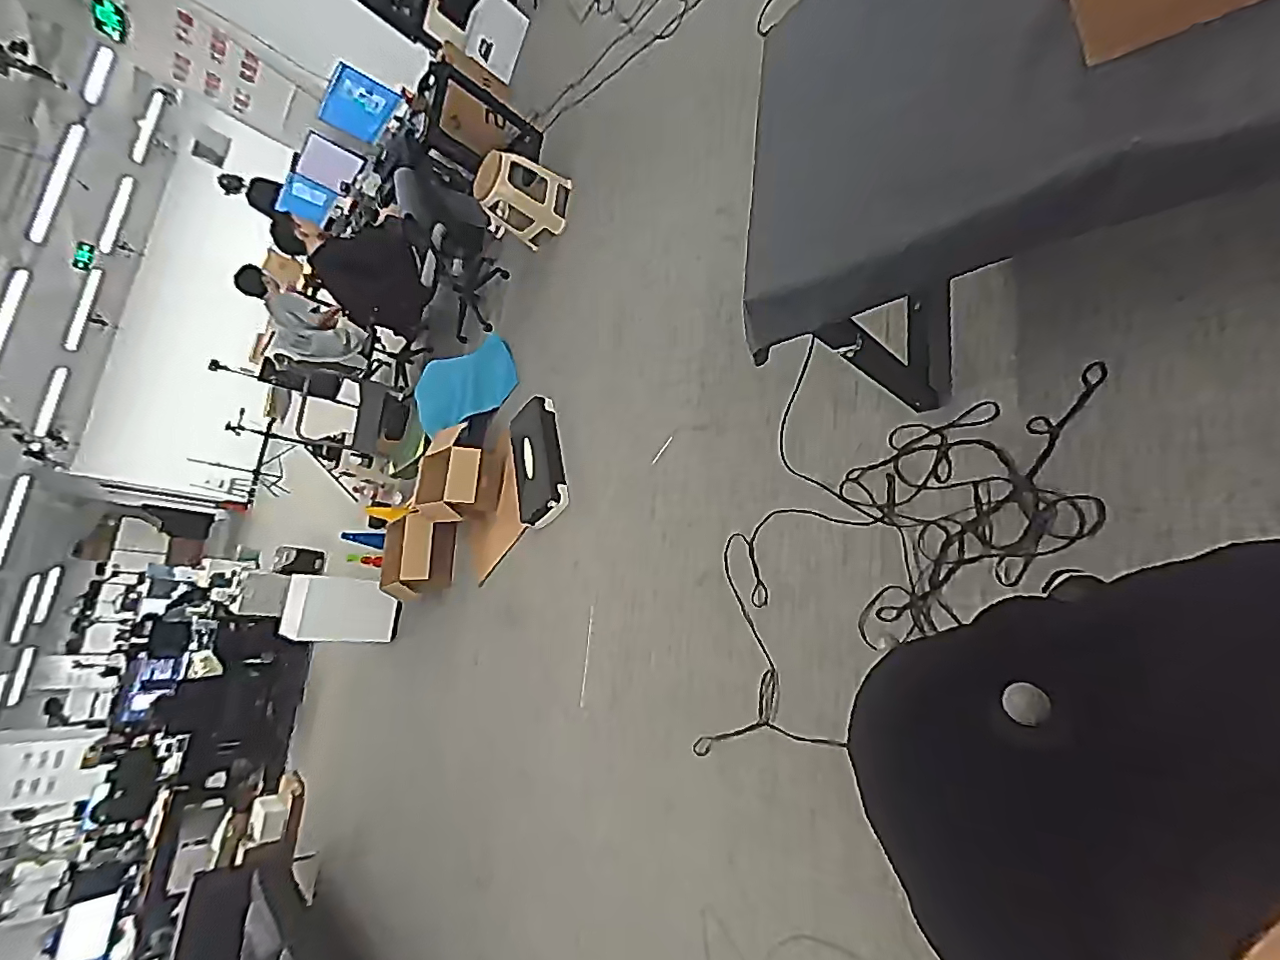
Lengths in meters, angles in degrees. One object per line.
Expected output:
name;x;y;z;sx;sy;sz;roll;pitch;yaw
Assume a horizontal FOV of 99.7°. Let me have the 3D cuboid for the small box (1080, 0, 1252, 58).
small box;0.555;-0.582;0.531;0.179;0.176;0.168;6;80;50
